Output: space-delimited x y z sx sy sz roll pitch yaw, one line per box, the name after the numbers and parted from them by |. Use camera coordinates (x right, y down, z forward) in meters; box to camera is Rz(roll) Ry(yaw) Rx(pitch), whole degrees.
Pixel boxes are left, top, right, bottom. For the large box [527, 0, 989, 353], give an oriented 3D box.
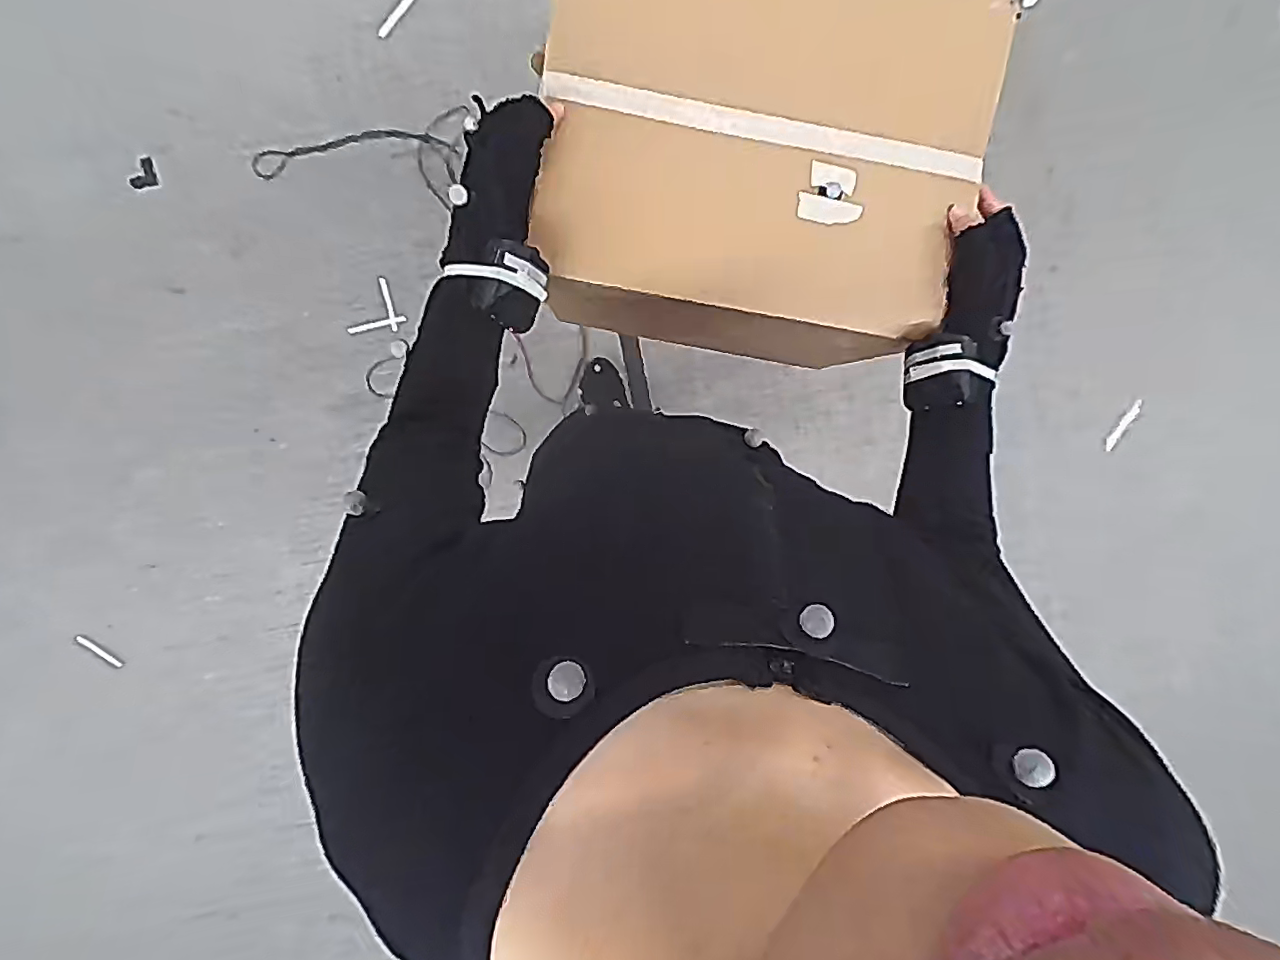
0.099 -0.347 0.651 0.408 0.320 0.320 8 98 -4 | large box
